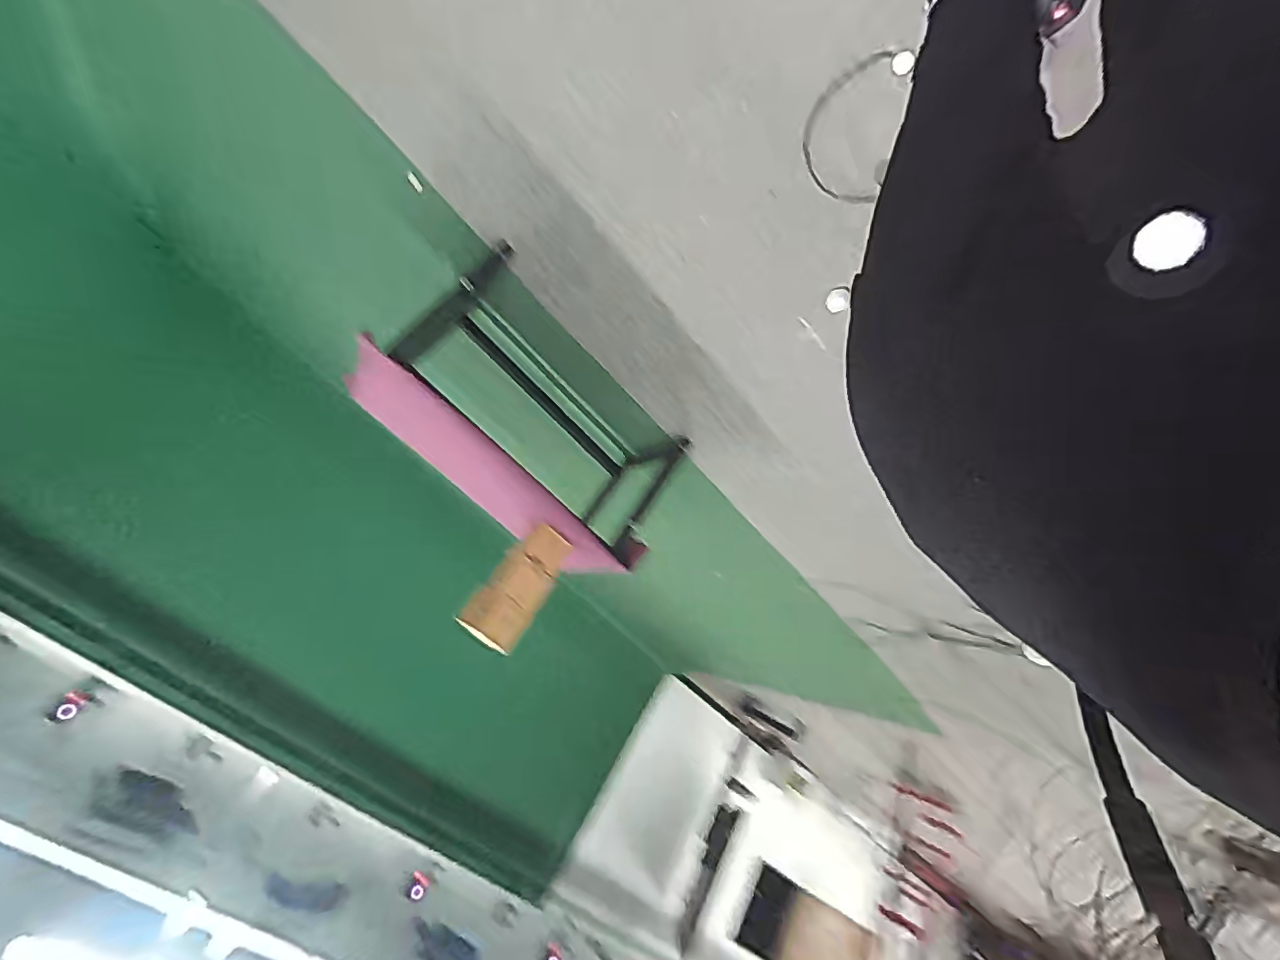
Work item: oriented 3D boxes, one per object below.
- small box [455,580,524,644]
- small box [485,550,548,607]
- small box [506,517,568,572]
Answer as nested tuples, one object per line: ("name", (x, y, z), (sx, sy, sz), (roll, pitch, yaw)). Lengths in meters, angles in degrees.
("small box", (-0.589, 0.521, 2.149), (0.179, 0.176, 0.168), (7, 141, 40))
("small box", (-0.504, 0.400, 2.221), (0.168, 0.176, 0.179), (47, 151, -22))
("small box", (-0.436, 0.275, 2.305), (0.168, 0.176, 0.179), (44, 151, -18))
